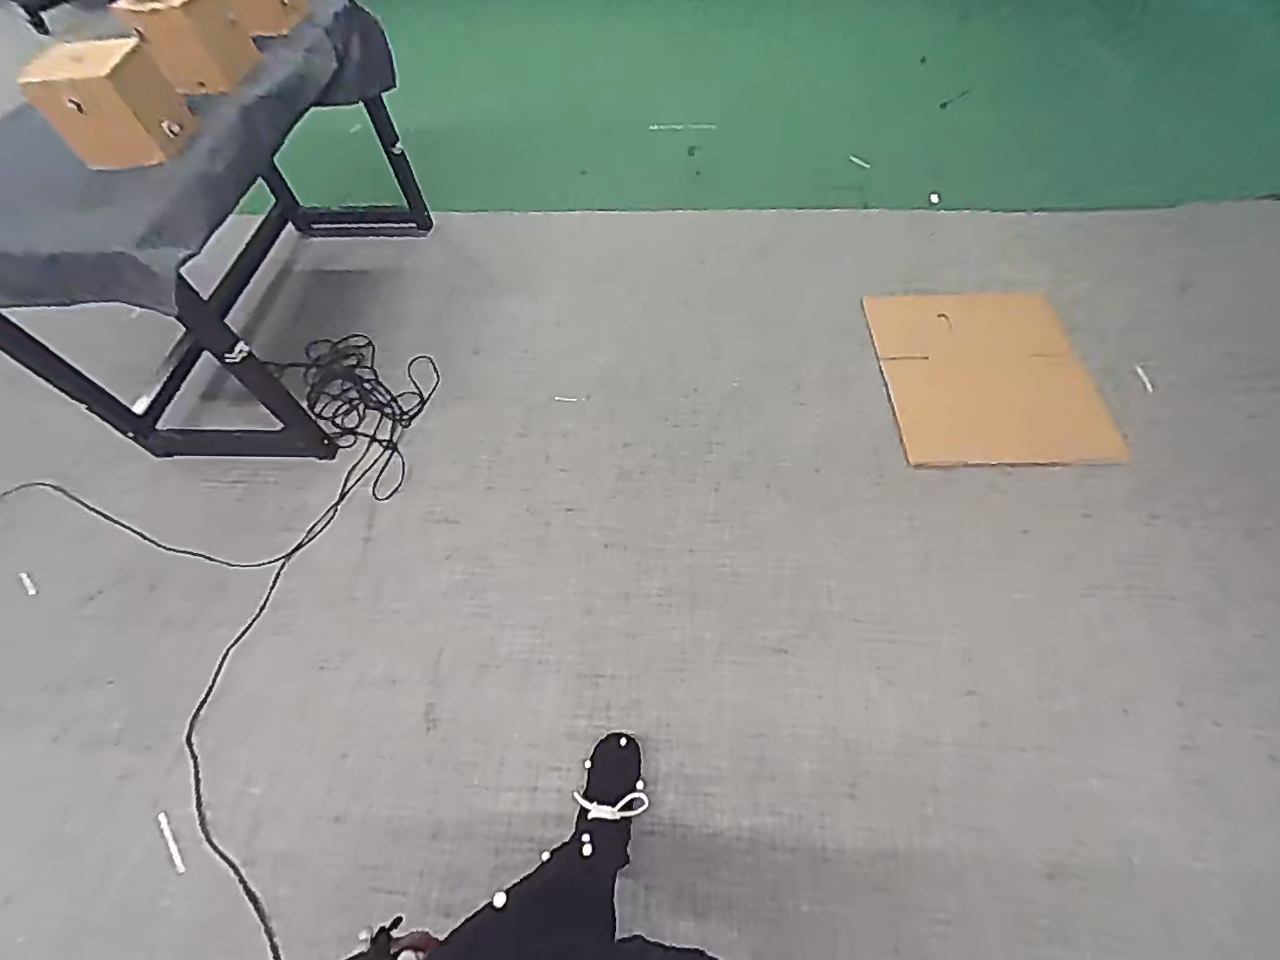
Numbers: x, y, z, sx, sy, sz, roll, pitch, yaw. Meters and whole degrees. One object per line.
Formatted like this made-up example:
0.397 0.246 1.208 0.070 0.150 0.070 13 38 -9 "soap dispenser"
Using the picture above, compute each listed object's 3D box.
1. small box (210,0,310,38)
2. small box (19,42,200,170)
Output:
-1.047 -1.324 1.459 0.179 0.176 0.168 5 59 6 "small box"
-1.081 -0.769 1.121 0.179 0.176 0.168 -5 59 -1 "small box"
